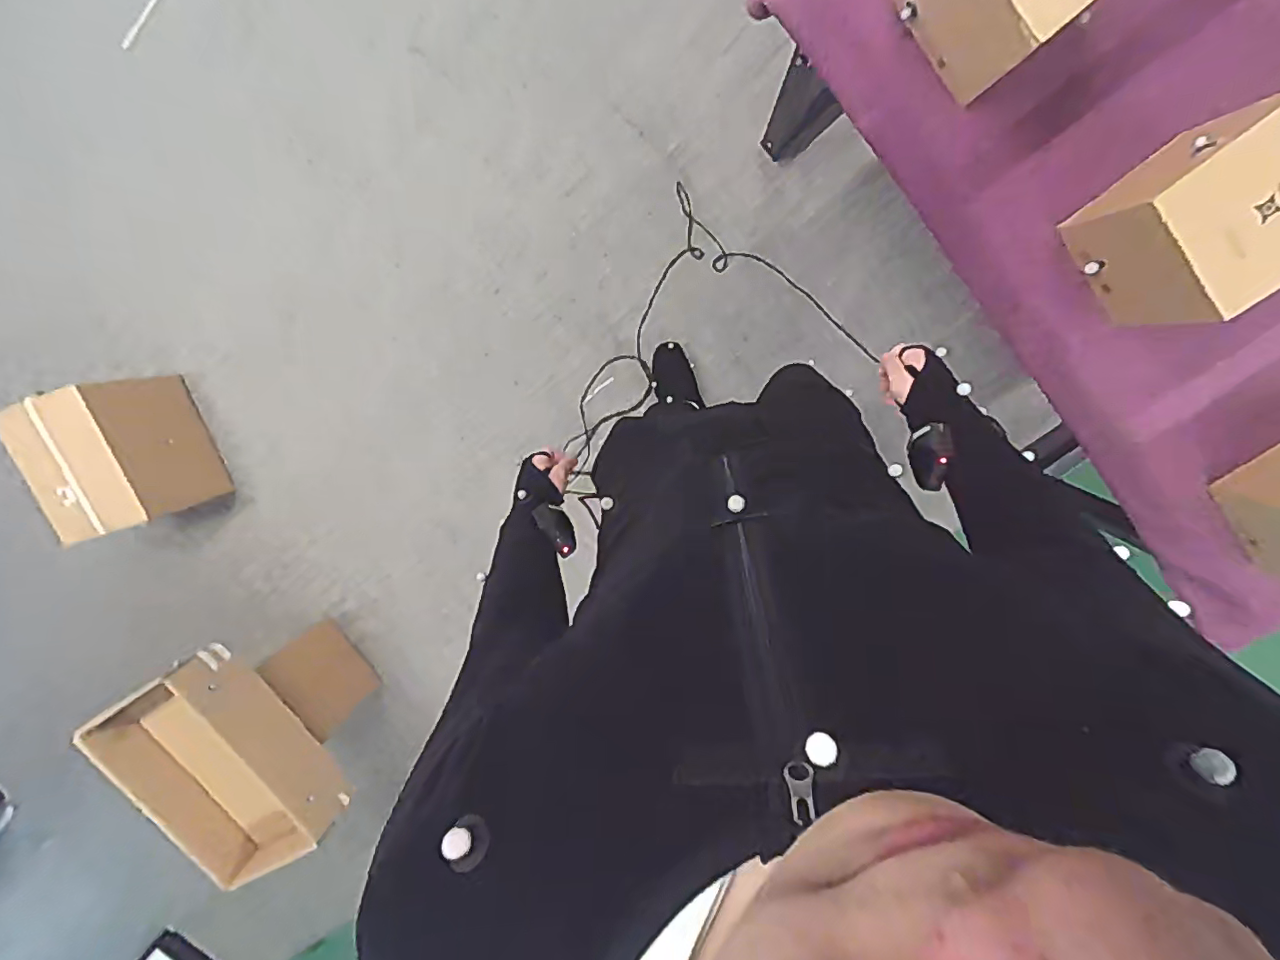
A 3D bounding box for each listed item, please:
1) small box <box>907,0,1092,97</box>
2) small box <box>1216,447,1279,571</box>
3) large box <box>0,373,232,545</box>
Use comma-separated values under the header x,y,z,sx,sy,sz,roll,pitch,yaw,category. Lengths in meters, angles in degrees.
x,y,z,sx,sy,sz,roll,pitch,yaw,category
0.425,-0.576,0.592,0.179,0.176,0.168,-39,100,14,small box
0.952,0.036,0.714,0.179,0.176,0.168,-37,98,12,small box
-1.560,-0.075,1.625,0.320,0.320,0.408,-14,105,10,large box
